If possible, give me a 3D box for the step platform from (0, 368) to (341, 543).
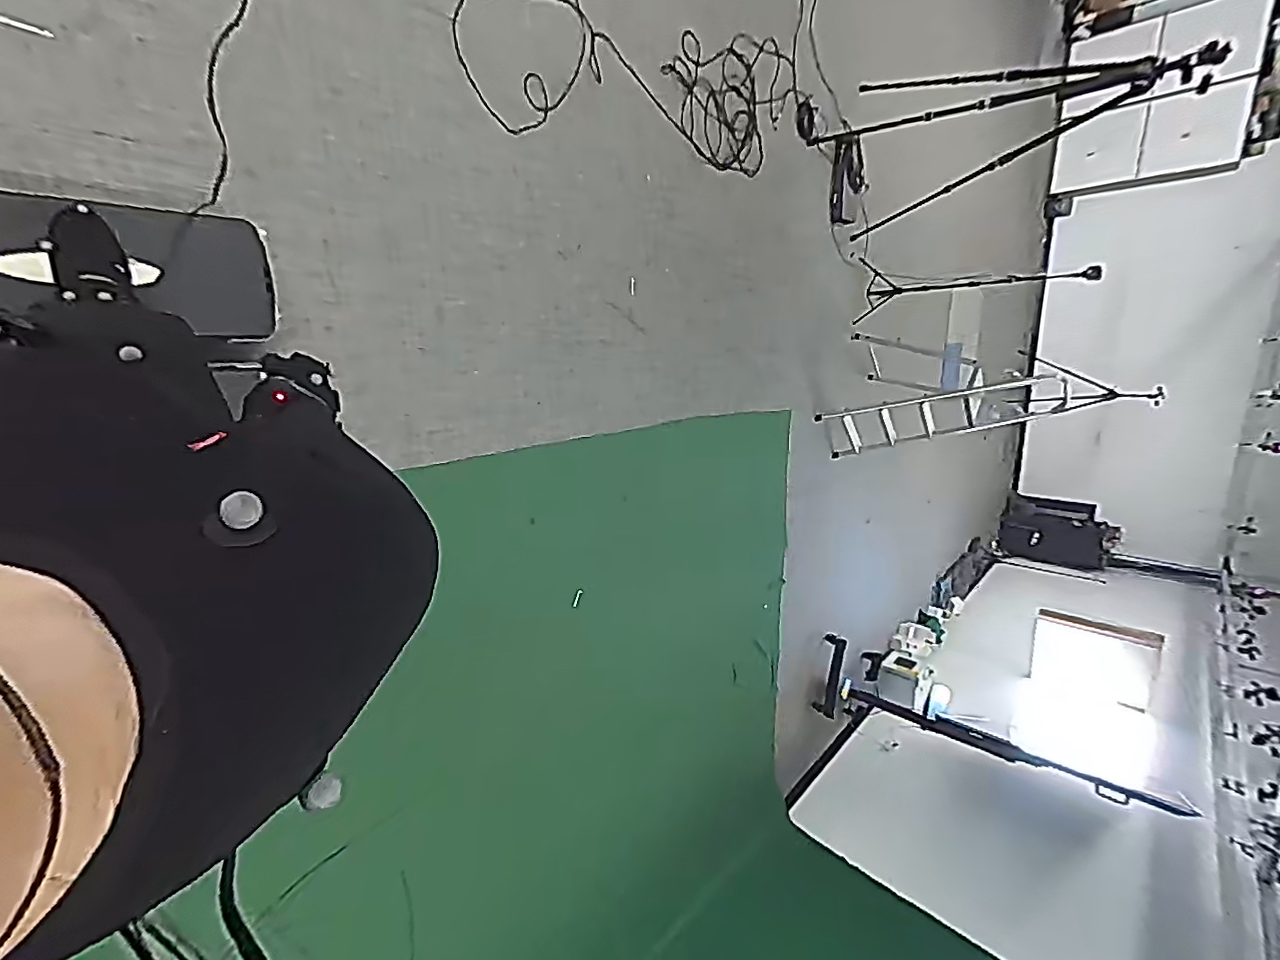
[{"bbox_3d":[-0.978,-0.056,1.030,0.684,0.204,0.286,-16,109,-45],"label":"step platform"}]
